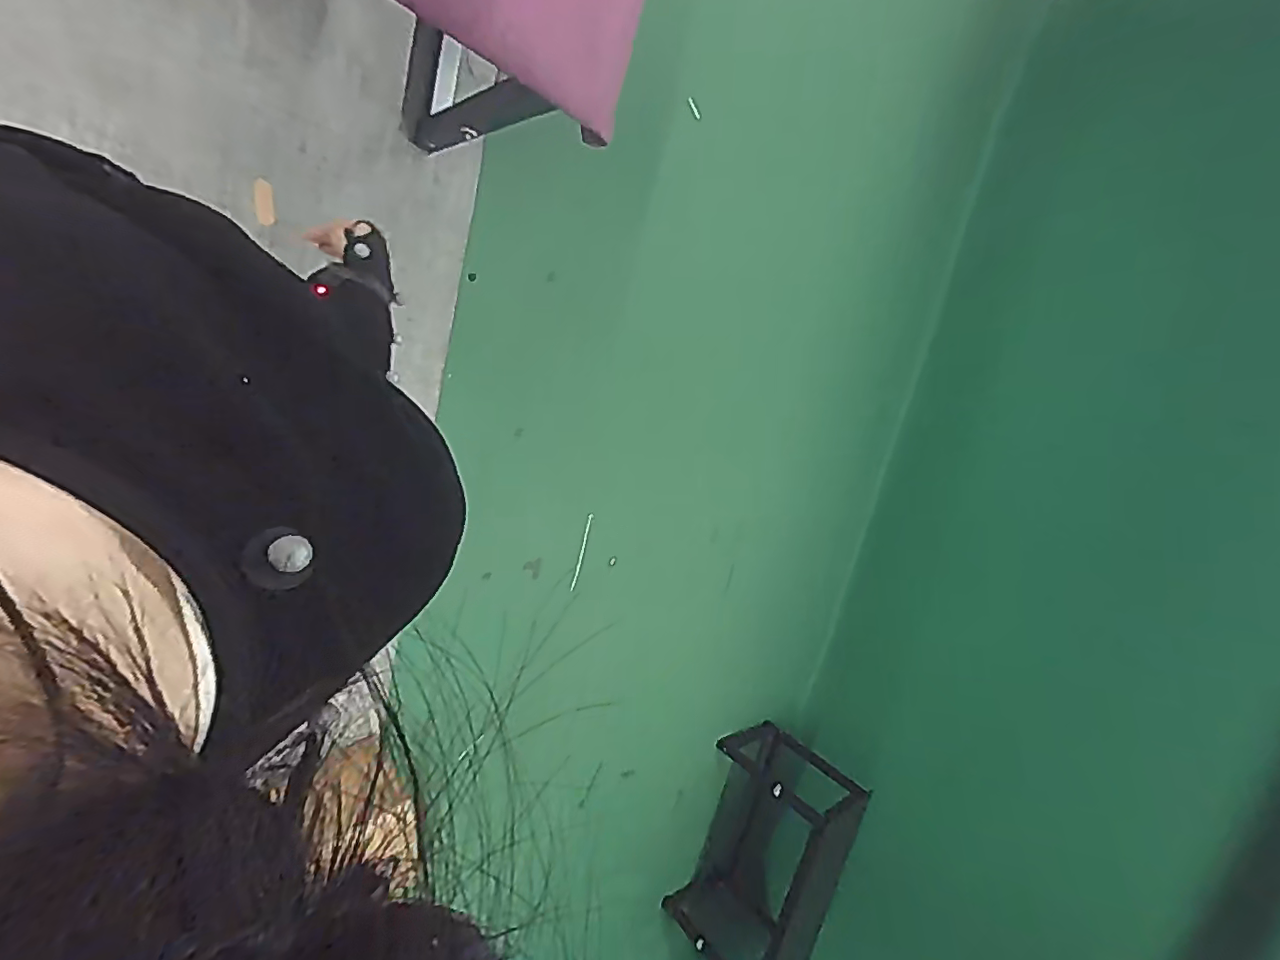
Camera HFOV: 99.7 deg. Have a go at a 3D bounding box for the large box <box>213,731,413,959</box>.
[{"bbox_3d":[-0.919,1.013,1.541,0.408,0.320,0.320,-14,118,-41],"label":"large box"}]

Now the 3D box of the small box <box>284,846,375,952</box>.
[{"bbox_3d":[-0.773,1.060,1.346,0.168,0.176,0.179,-7,111,-42],"label":"small box"}]
